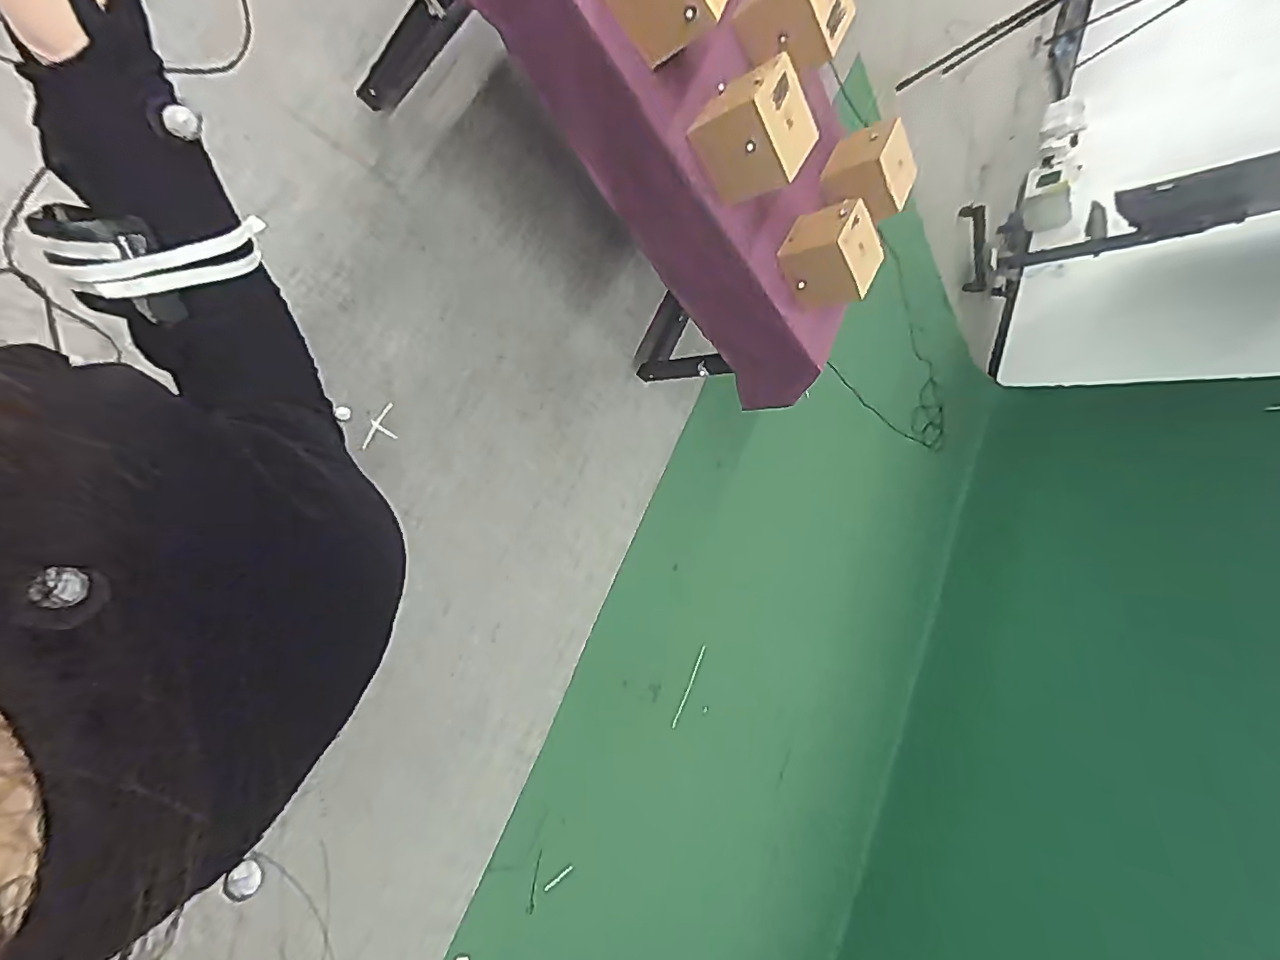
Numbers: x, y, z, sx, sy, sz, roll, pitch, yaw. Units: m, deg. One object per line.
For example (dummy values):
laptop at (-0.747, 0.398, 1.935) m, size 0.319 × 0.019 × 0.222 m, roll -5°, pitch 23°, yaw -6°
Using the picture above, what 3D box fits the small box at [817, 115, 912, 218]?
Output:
small box at (0.606, -0.831, 1.462) m, size 0.168 × 0.176 × 0.179 m, roll 43°, pitch 67°, yaw -36°

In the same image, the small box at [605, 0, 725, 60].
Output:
small box at (0.044, -0.890, 0.933) m, size 0.179 × 0.176 × 0.168 m, roll 33°, pitch 72°, yaw -42°

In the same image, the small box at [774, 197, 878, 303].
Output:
small box at (0.467, -0.568, 1.361) m, size 0.179 × 0.176 × 0.168 m, roll 47°, pitch 63°, yaw -36°

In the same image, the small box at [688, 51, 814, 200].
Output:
small box at (0.229, -0.722, 1.122) m, size 0.179 × 0.176 × 0.168 m, roll 47°, pitch 64°, yaw -37°
